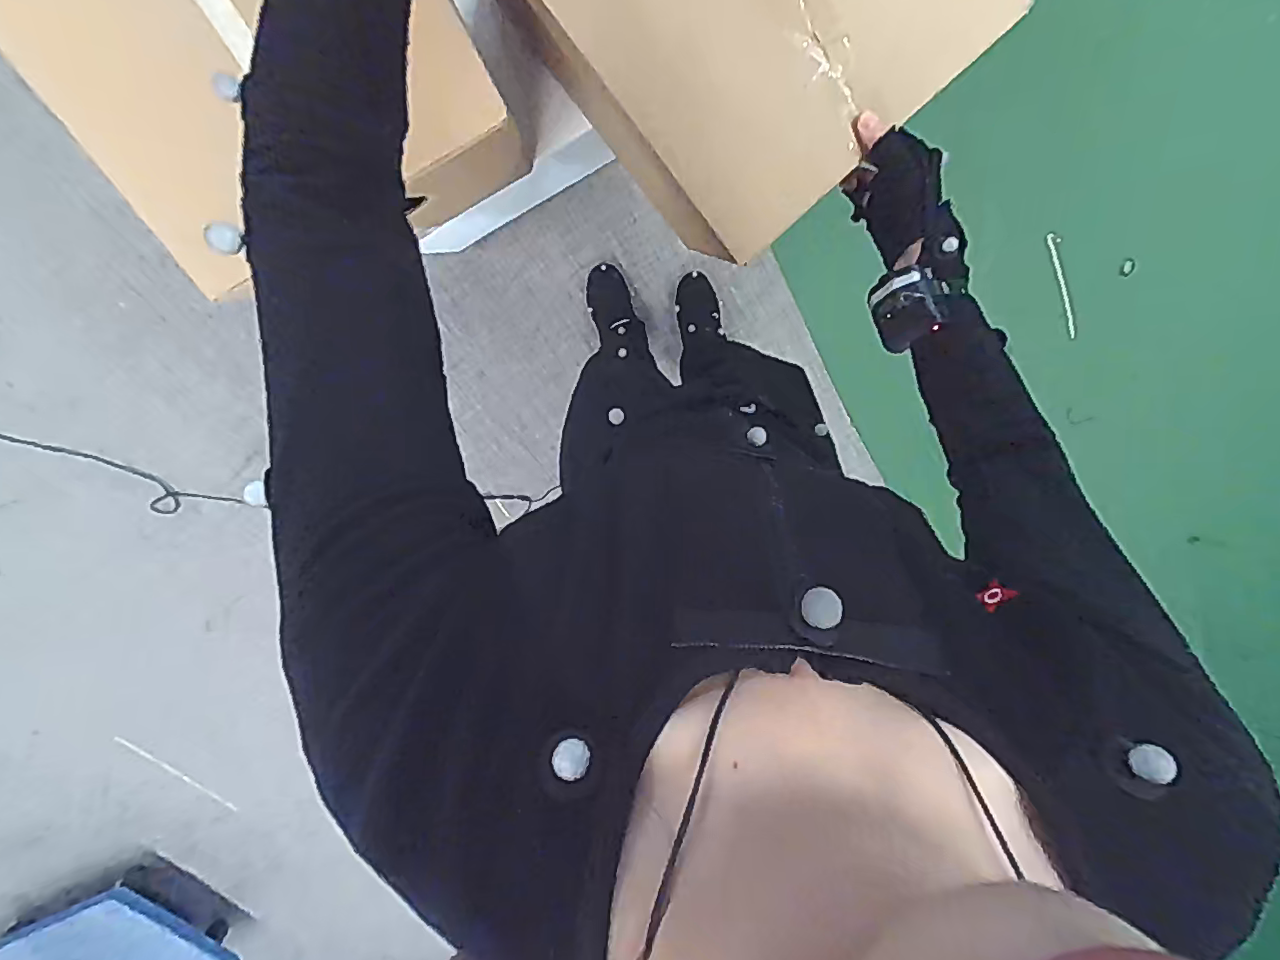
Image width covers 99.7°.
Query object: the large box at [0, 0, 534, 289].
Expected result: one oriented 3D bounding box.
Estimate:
[{"bbox_3d":[-0.352,-0.452,0.532,0.320,0.320,0.408,-27,112,6],"label":"large box"}]
